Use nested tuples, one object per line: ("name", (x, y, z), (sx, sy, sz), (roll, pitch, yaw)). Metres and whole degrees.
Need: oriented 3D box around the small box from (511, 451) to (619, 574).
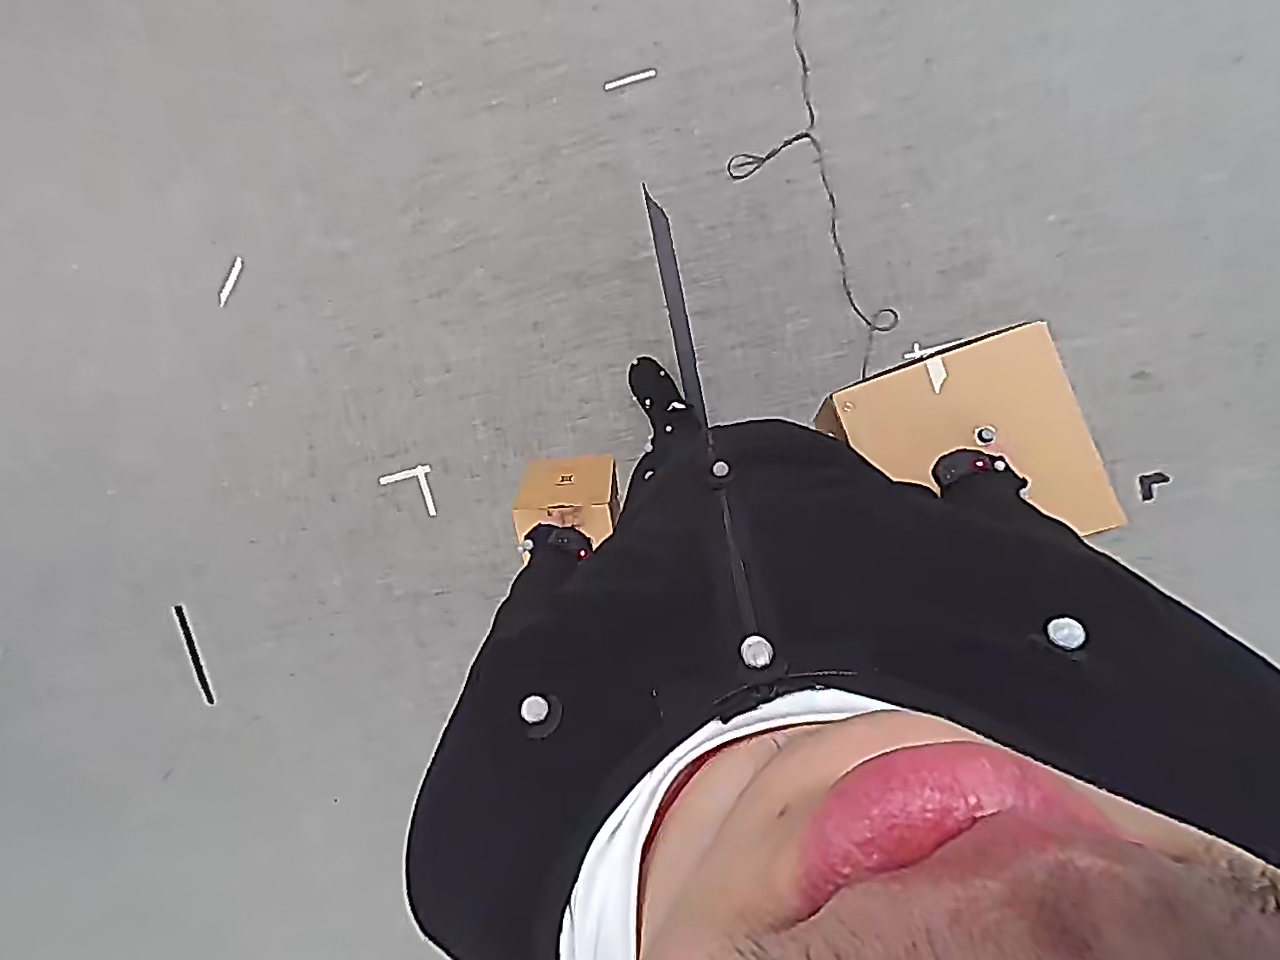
("small box", (-0.129, 0.063, 1.013), (0.168, 0.179, 0.176), (-3, 121, 2))
